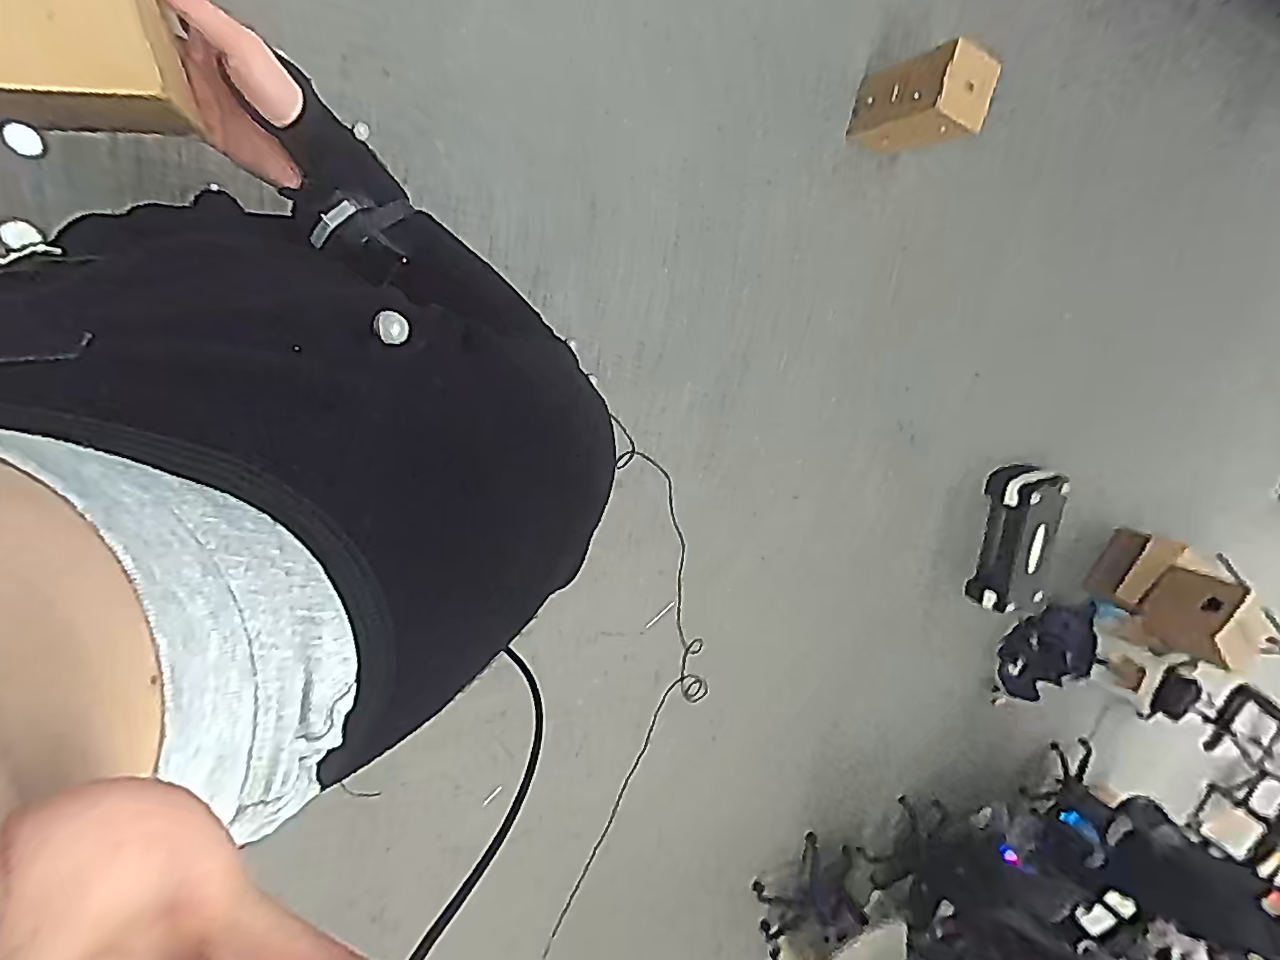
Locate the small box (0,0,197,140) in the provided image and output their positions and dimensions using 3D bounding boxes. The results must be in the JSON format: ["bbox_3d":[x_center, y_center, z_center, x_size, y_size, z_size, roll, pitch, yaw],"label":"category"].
[{"bbox_3d":[-0.346,-0.276,0.257,0.168,0.176,0.179,-15,121,-27],"label":"small box"}]
